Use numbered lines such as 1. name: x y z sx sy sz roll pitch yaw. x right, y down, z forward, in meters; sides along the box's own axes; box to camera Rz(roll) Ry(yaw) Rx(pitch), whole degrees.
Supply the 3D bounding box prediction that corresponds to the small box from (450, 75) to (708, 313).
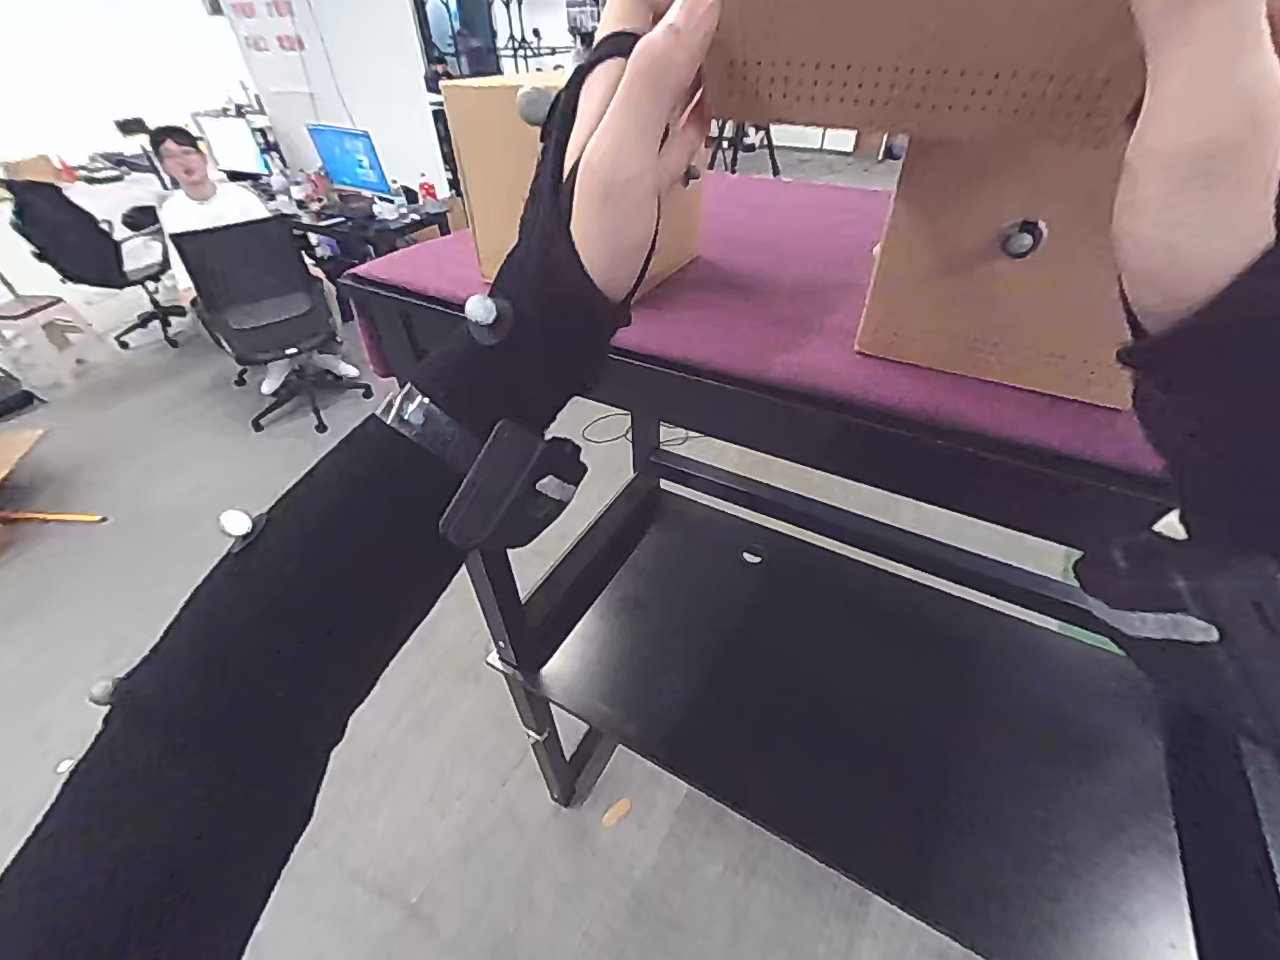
1. small box: -0.048 -0.282 0.524 0.168 0.176 0.179 18 44 23
